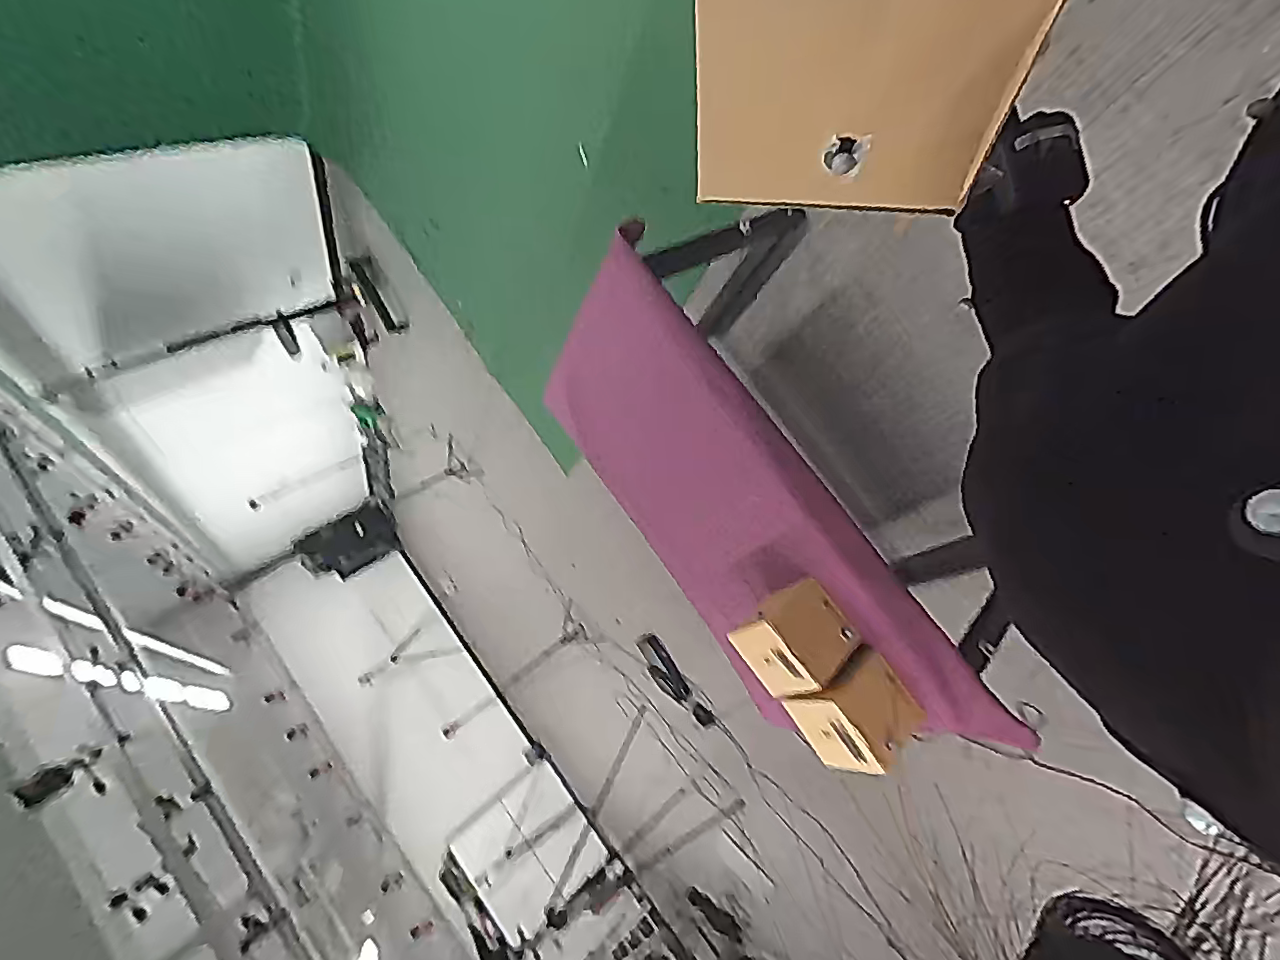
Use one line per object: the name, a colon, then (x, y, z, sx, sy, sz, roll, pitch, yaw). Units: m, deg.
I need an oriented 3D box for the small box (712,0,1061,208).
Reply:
small box: (0.140, -0.298, 0.329, 0.179, 0.168, 0.176, 9, 158, 11)
